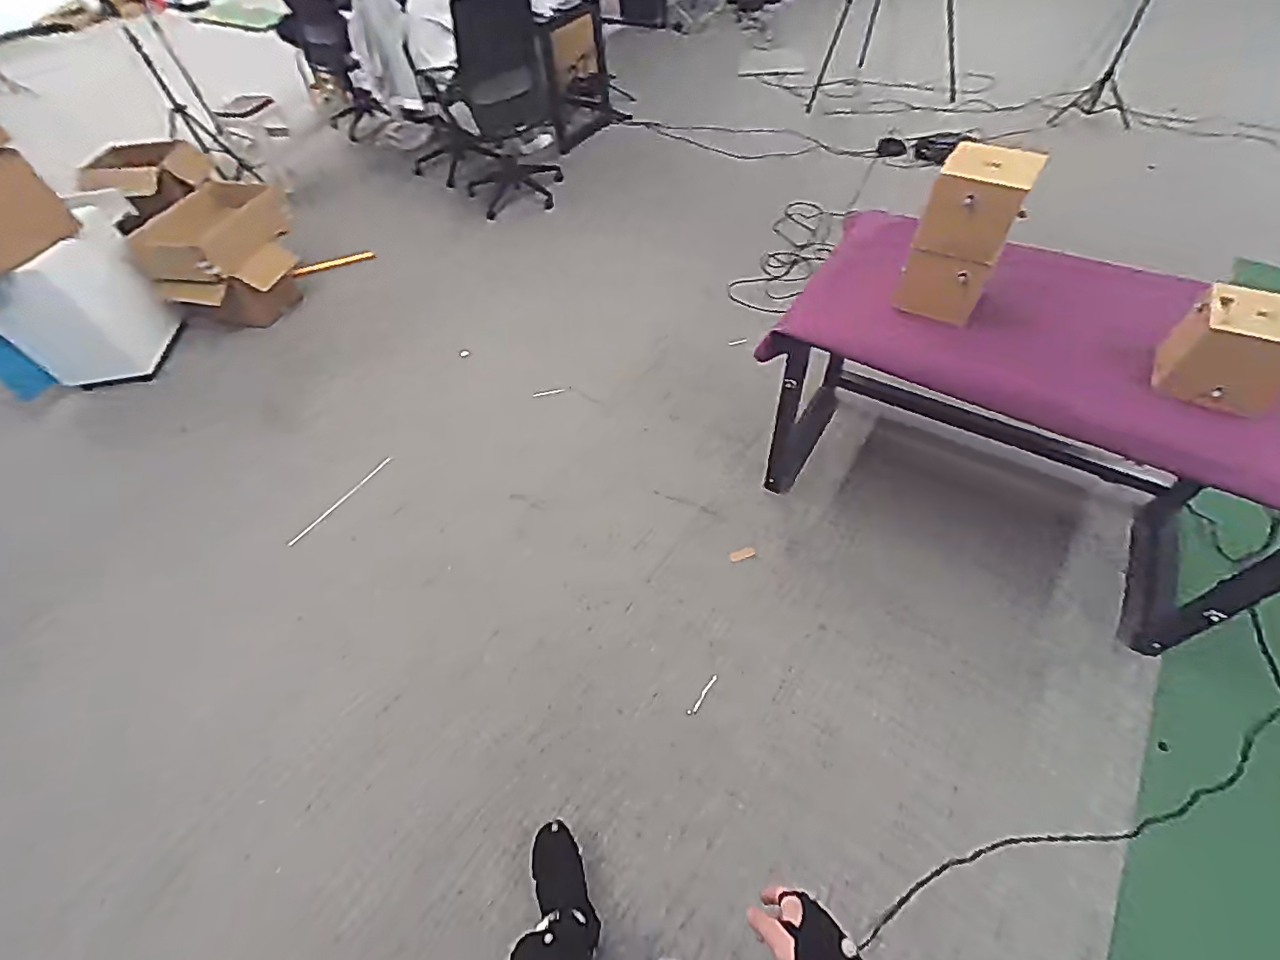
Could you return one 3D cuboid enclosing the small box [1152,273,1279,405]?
[{"bbox_3d":[1.186,-0.275,1.075,0.179,0.176,0.168,25,60,23],"label":"small box"}]

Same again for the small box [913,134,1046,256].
[{"bbox_3d":[0.730,-0.616,1.177,0.179,0.176,0.168,26,61,24],"label":"small box"}]

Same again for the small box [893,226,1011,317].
[{"bbox_3d":[0.746,-0.522,1.308,0.179,0.176,0.168,27,60,23],"label":"small box"}]
